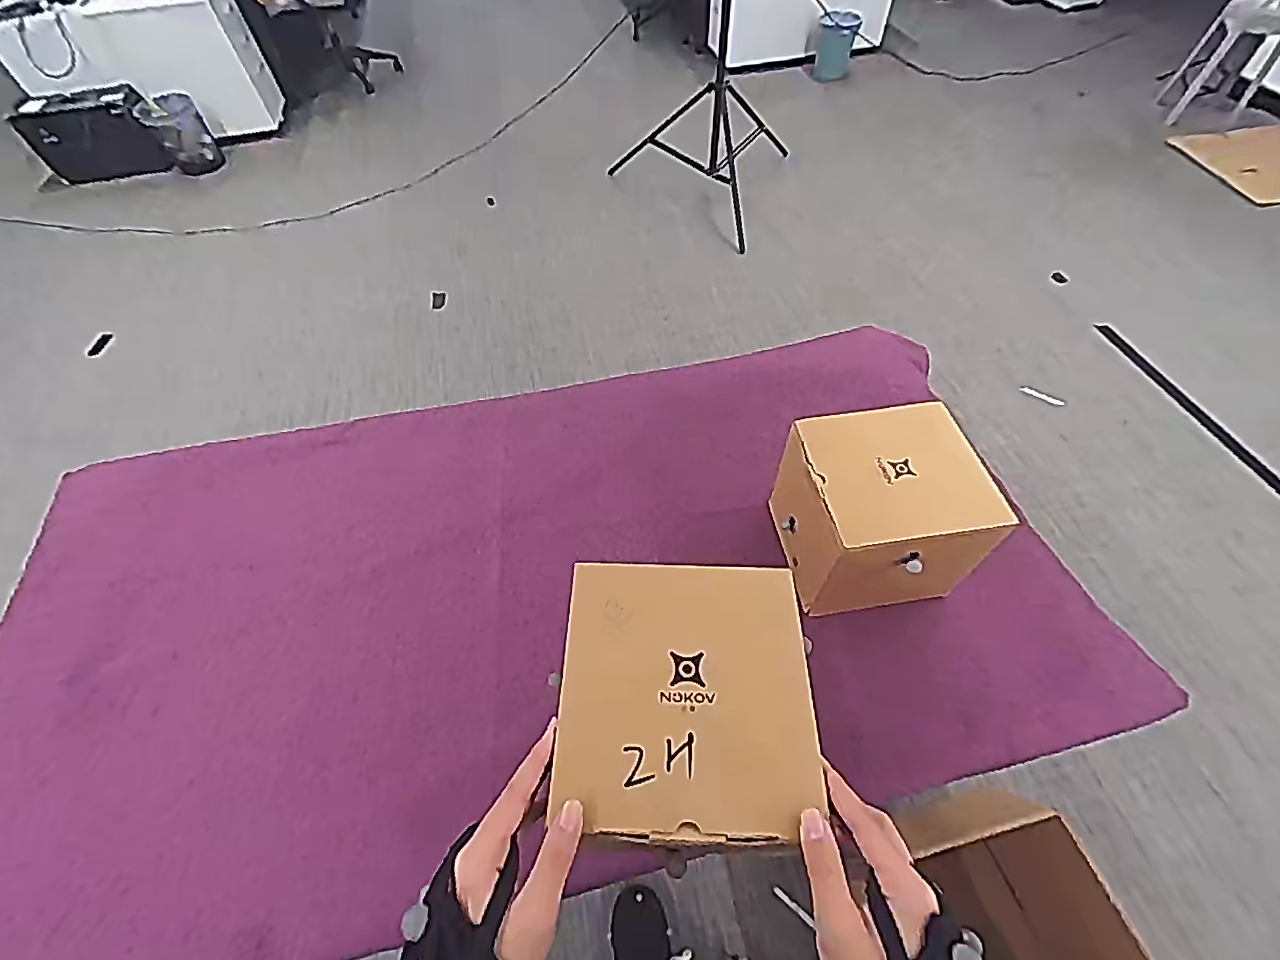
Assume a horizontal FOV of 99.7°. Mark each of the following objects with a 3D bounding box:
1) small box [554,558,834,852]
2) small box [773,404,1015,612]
[{"bbox_3d":[0.033,0.179,0.424,0.168,0.176,0.179,1,54,1],"label":"small box"},{"bbox_3d":[0.270,0.038,0.626,0.179,0.176,0.168,-8,54,-2],"label":"small box"}]
